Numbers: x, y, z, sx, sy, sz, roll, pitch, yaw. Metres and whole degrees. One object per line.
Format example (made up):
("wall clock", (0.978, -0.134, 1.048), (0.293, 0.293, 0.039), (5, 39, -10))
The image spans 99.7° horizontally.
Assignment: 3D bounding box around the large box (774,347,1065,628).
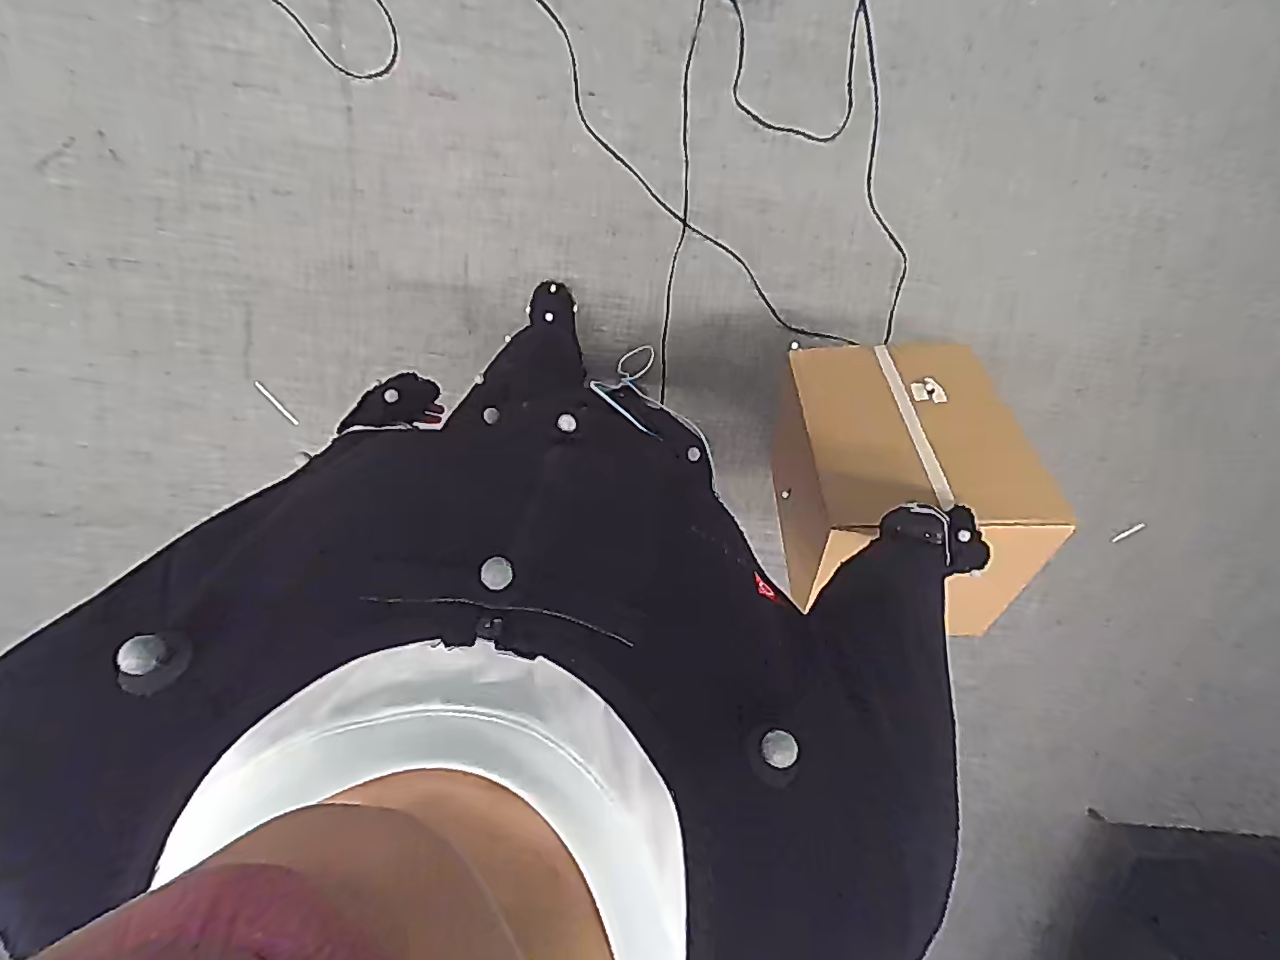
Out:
("large box", (0.429, 0.012, 0.961), (0.320, 0.408, 0.320), (0, 137, 5))
